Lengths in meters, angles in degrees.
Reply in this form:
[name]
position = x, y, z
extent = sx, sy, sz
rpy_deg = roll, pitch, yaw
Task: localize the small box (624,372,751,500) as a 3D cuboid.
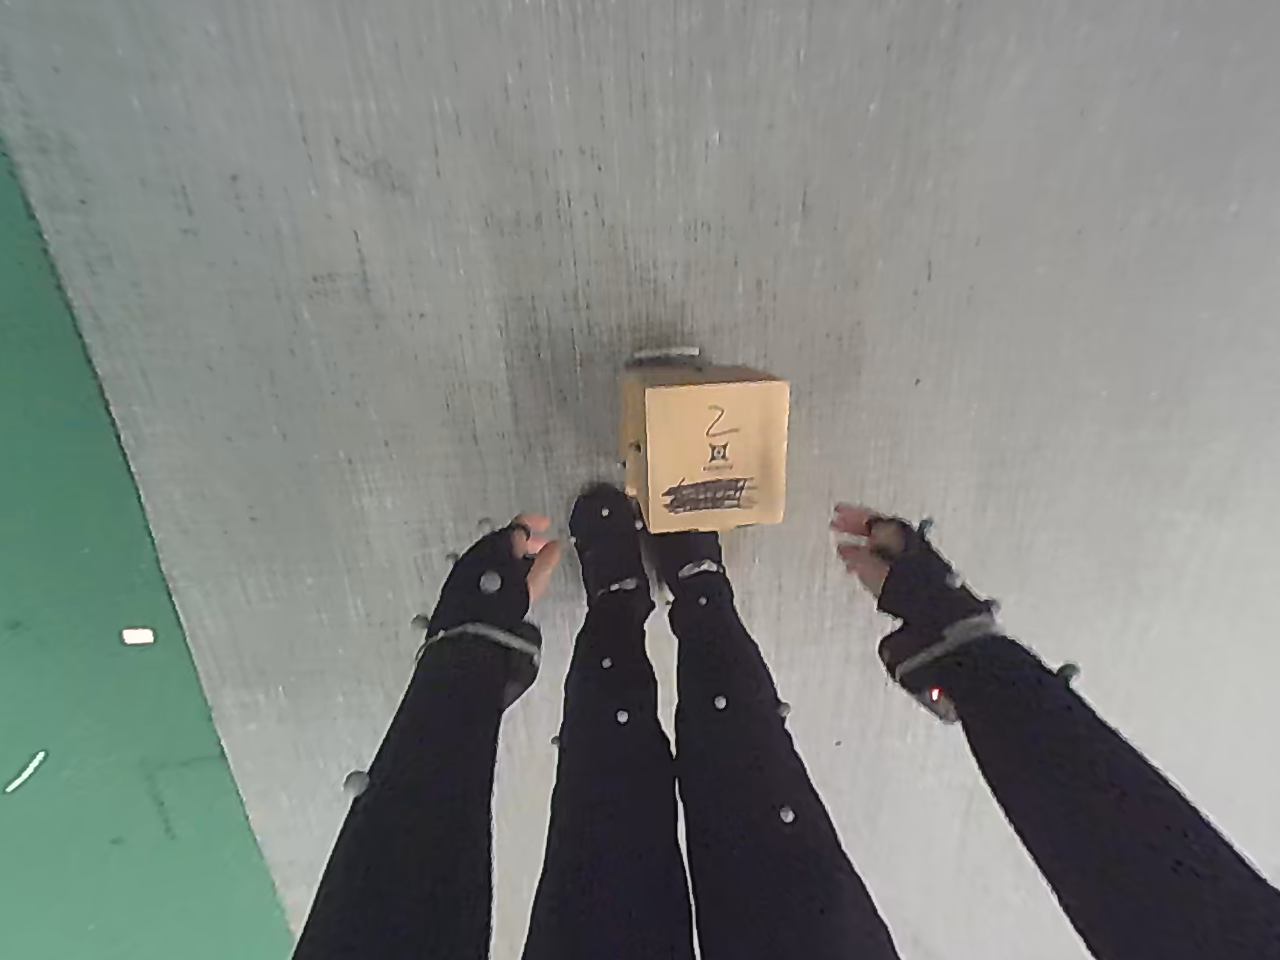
[small box]
position = 0.065, -0.077, 0.865
extent = 0.168, 0.176, 0.179
rpy_deg = 1, 108, -7
